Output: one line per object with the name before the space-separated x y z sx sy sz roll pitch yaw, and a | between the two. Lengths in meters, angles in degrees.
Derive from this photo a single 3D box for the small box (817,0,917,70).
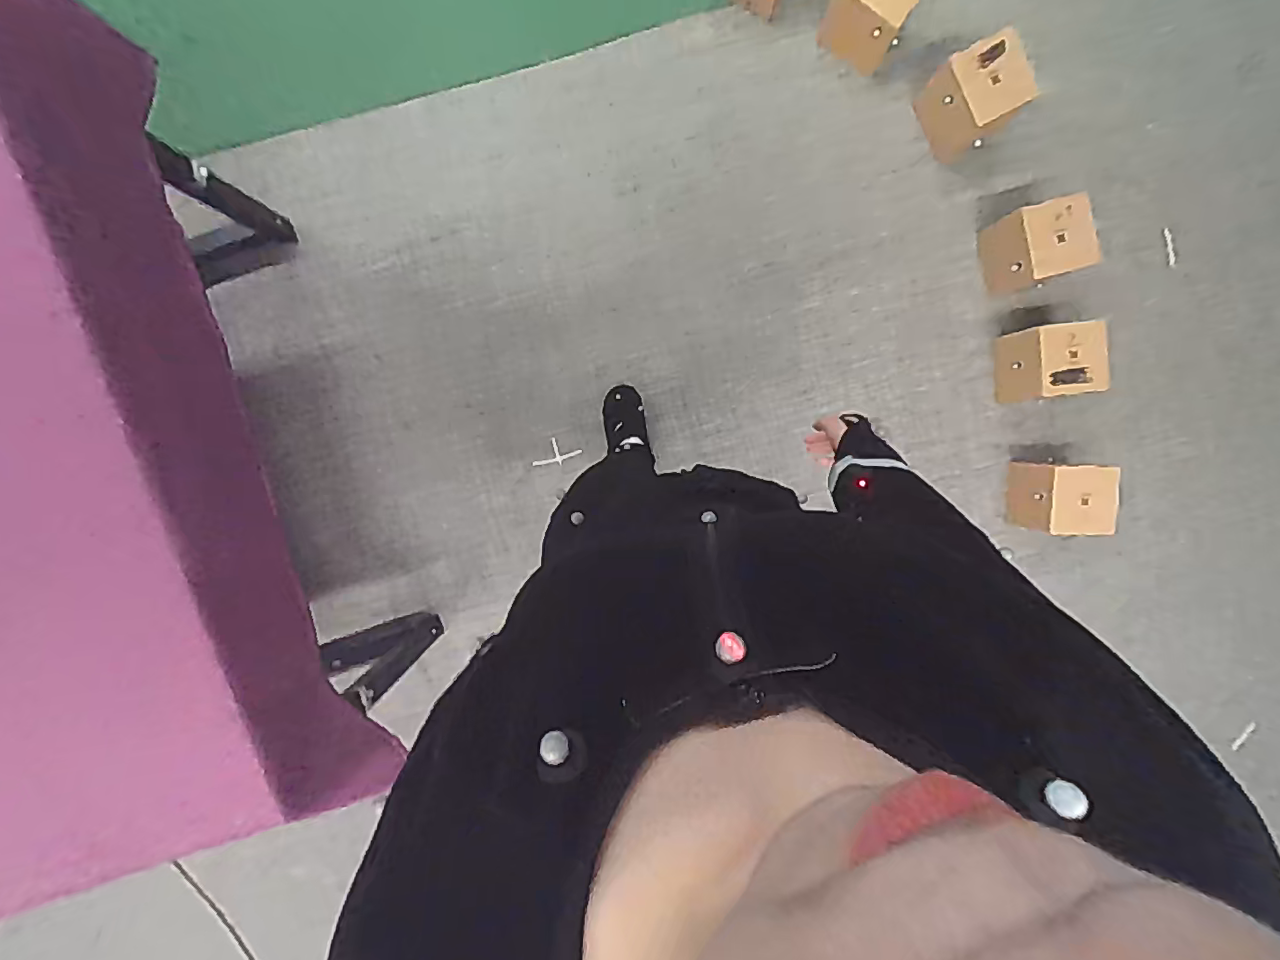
small box | 0.564 -1.160 1.317 0.179 0.176 0.168 34 93 -3

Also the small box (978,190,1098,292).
small box | 0.994 -0.590 1.364 0.168 0.176 0.179 -15 94 0

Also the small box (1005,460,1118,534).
small box | 1.096 0.040 1.417 0.168 0.176 0.179 1 95 0

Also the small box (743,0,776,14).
small box | 0.297 -1.293 1.300 0.168 0.176 0.179 29 94 -3
